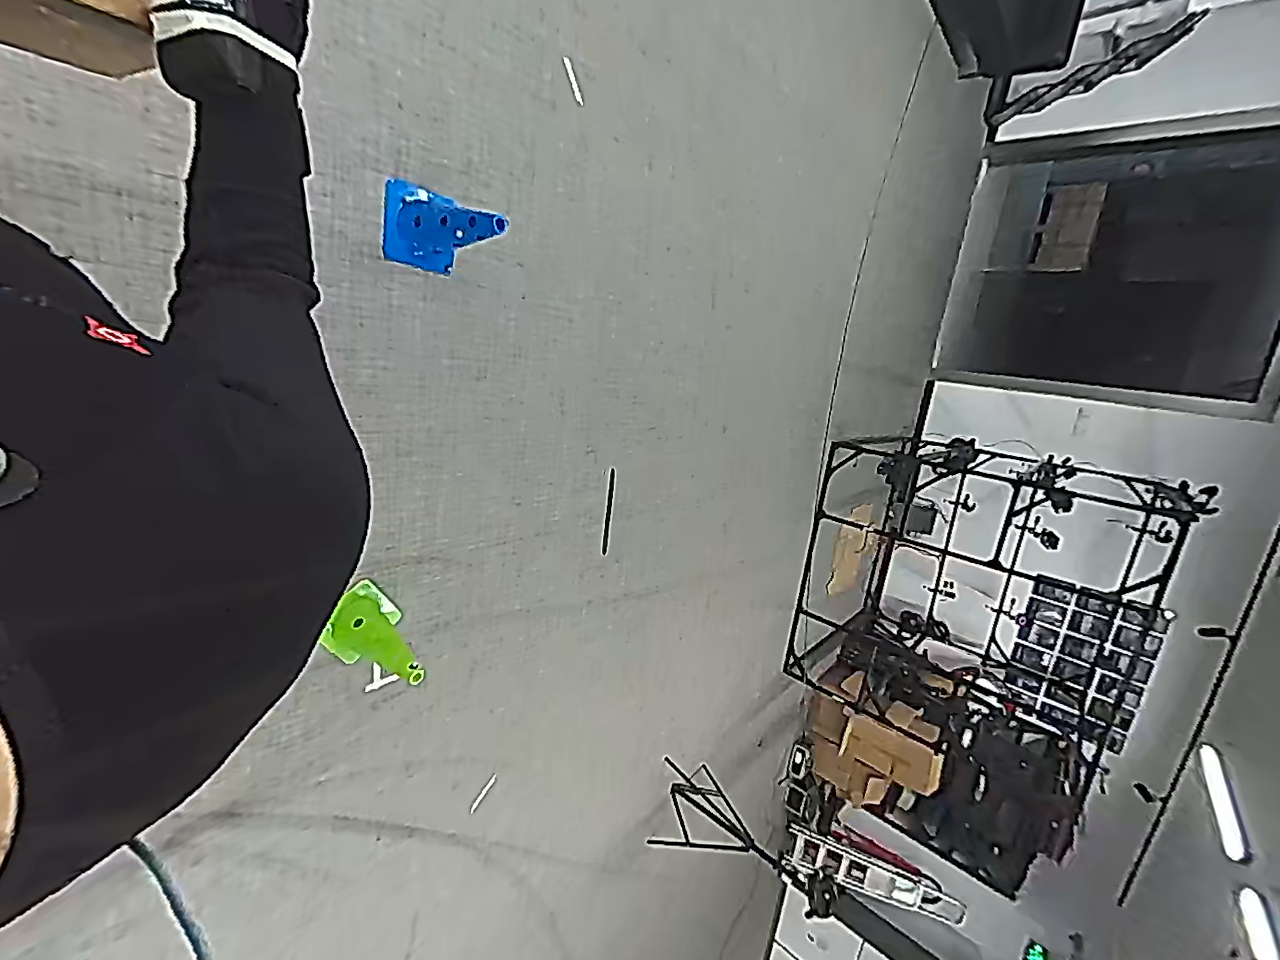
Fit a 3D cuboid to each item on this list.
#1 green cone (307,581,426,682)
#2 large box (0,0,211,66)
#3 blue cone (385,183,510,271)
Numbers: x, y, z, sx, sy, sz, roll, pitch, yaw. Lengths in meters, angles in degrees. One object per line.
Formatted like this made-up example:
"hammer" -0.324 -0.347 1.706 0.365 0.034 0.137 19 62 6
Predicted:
"green cone" -0.704 0.461 1.484 0.202 0.368 0.200 -49 138 -29
"large box" -0.517 -0.476 0.265 0.408 0.320 0.320 -13 121 -51
"blue cone" -0.466 -0.638 1.362 0.192 0.380 0.193 -3 107 -52
